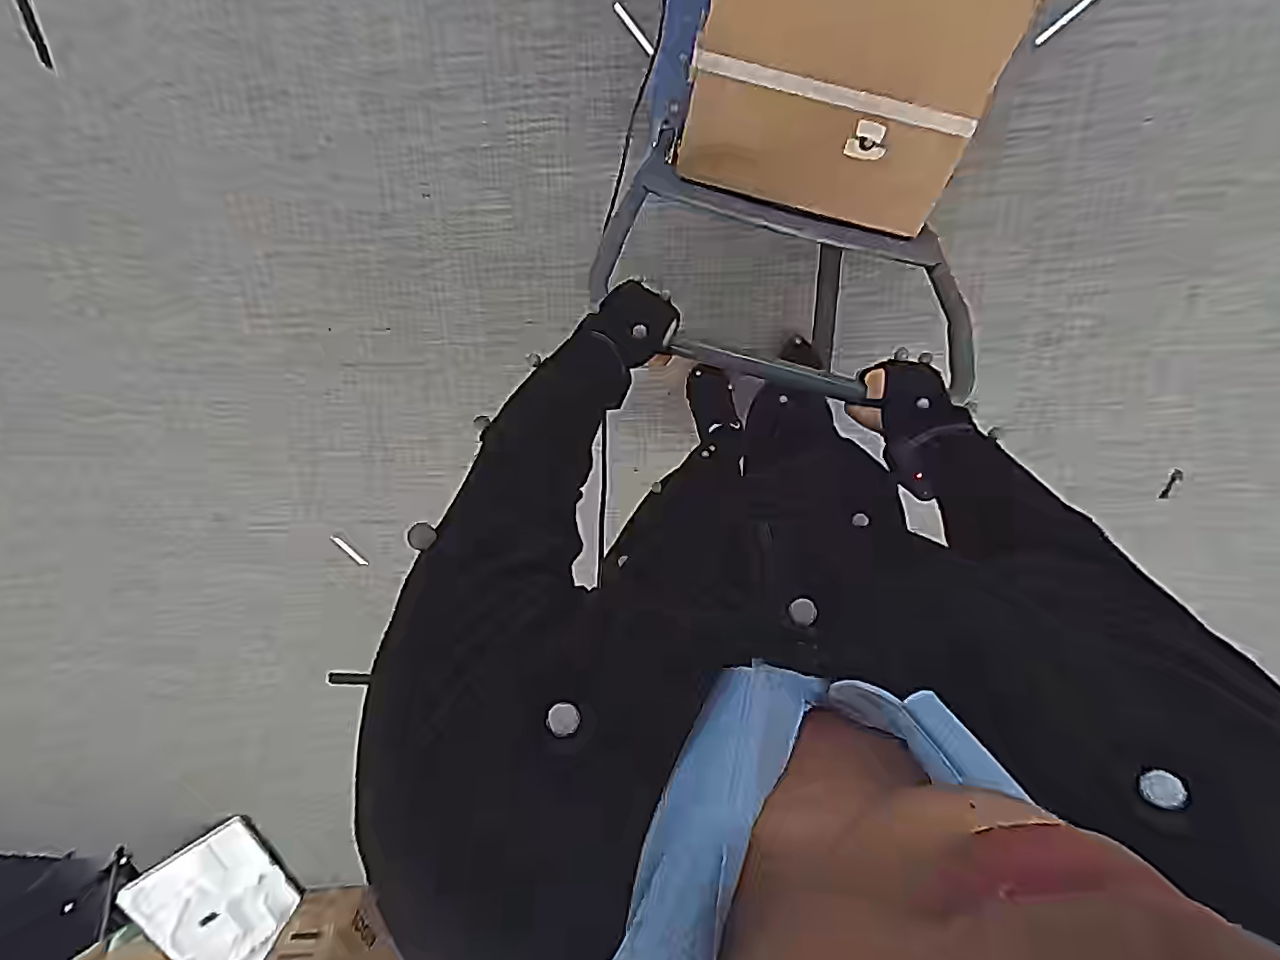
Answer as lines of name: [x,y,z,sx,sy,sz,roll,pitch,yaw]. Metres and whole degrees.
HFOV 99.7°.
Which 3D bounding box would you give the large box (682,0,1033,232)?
large box: [0.306,-0.655,0.890,0.408,0.320,0.320,14,134,0]
